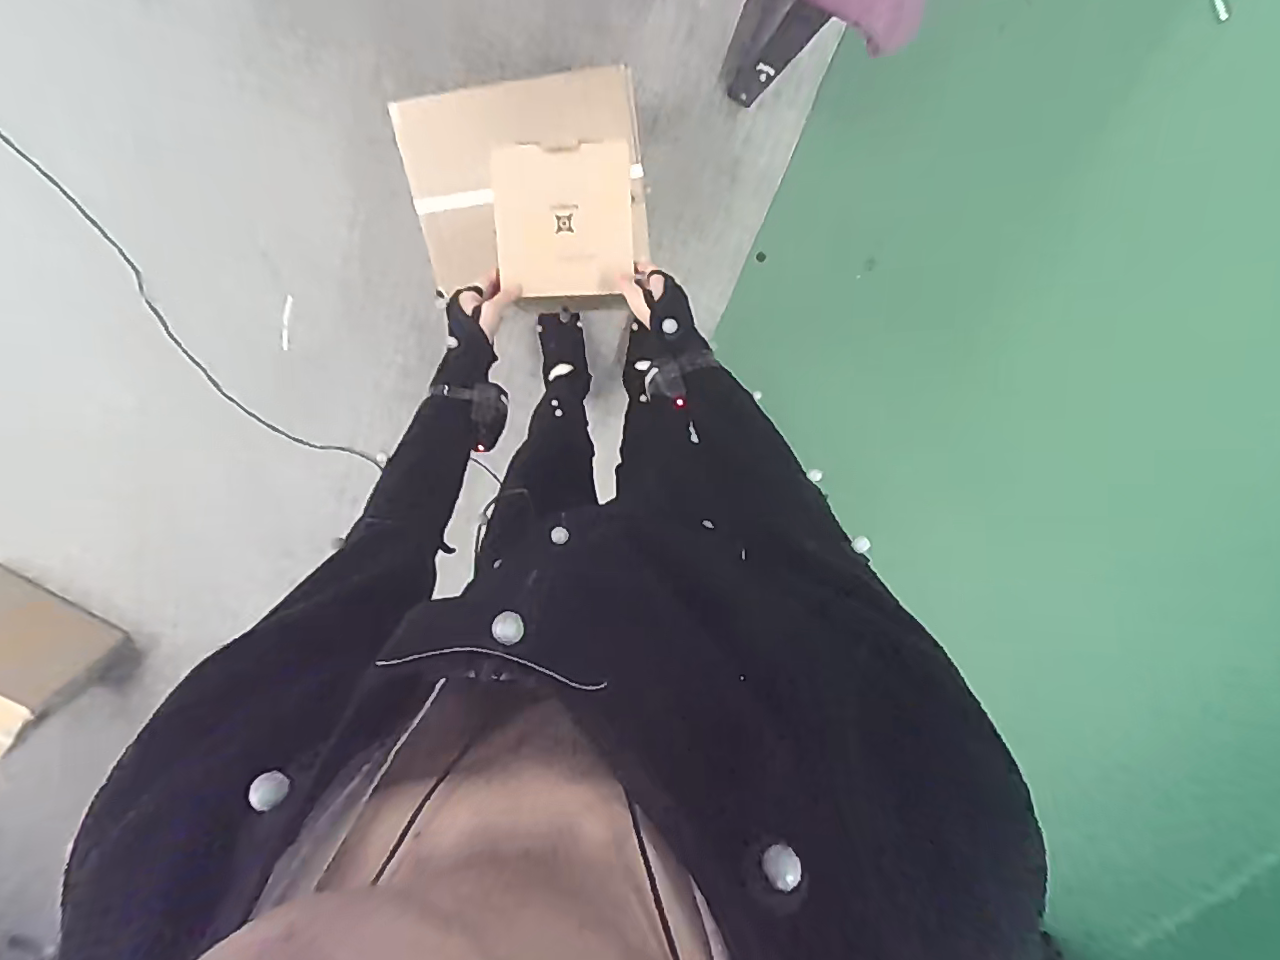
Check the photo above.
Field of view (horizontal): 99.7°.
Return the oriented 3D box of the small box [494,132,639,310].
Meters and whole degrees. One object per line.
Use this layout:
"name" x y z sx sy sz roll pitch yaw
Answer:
"small box" -0.088 -0.327 0.713 0.168 0.176 0.179 -2 101 -1
